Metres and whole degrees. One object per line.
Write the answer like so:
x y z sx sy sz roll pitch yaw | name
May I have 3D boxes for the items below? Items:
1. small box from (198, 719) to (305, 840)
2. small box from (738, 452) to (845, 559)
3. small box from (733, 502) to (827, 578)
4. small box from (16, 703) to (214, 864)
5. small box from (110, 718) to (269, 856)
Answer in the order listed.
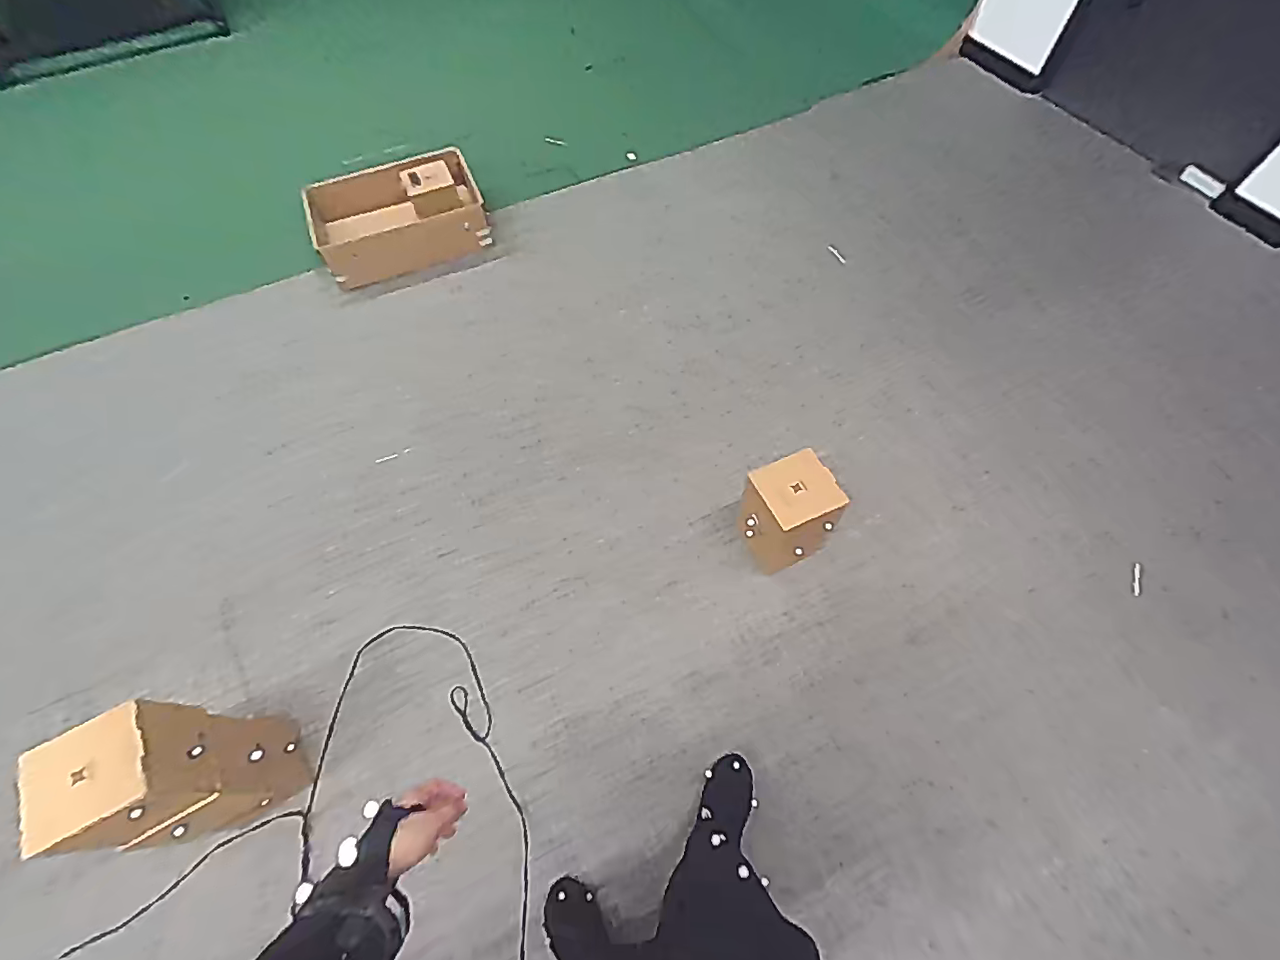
-0.885 0.664 1.208 0.179 0.176 0.168 -31 64 -14 | small box
0.357 0.067 1.315 0.179 0.176 0.168 -23 61 -10 | small box
0.368 0.137 1.461 0.168 0.176 0.179 -23 62 -10 | small box
-0.882 0.510 0.920 0.179 0.176 0.168 -28 64 -14 | small box
-0.878 0.596 1.058 0.179 0.176 0.168 -27 64 -14 | small box
